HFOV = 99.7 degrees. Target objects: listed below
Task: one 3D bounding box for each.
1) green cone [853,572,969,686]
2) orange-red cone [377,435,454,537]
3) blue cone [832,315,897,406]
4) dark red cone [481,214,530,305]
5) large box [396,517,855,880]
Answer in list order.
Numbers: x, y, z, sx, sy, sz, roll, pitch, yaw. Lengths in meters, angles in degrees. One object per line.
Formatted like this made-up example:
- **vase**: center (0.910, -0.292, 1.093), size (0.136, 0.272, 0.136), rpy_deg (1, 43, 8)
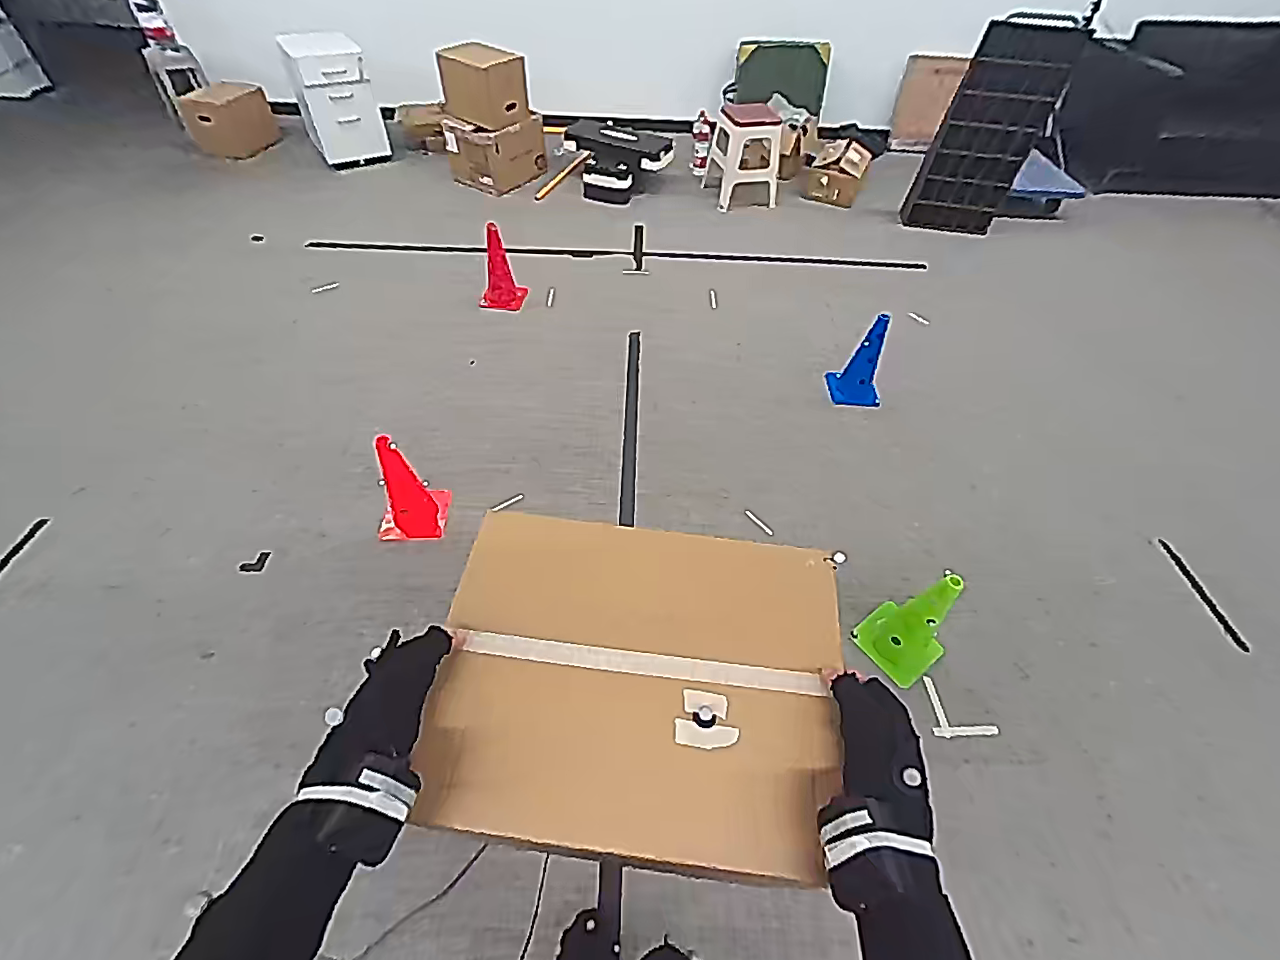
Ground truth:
- **green cone**: center (0.755, 0.355, 1.424), size (0.202, 0.368, 0.200), rpy_deg (-28, 57, -25)
- **orange-red cone**: center (-0.723, -0.002, 1.652), size (0.198, 0.360, 0.199), rpy_deg (-1, 51, -2)
- **blue cone**: center (0.922, -0.487, 2.161), size (0.192, 0.380, 0.193), rpy_deg (5, 50, 0)
- **dark red cone**: center (-0.634, -1.009, 2.470), size (0.201, 0.394, 0.202), rpy_deg (7, 50, 2)
- **large box**: center (-0.007, 0.274, 0.664), size (0.408, 0.320, 0.320), rpy_deg (7, 53, 3)
